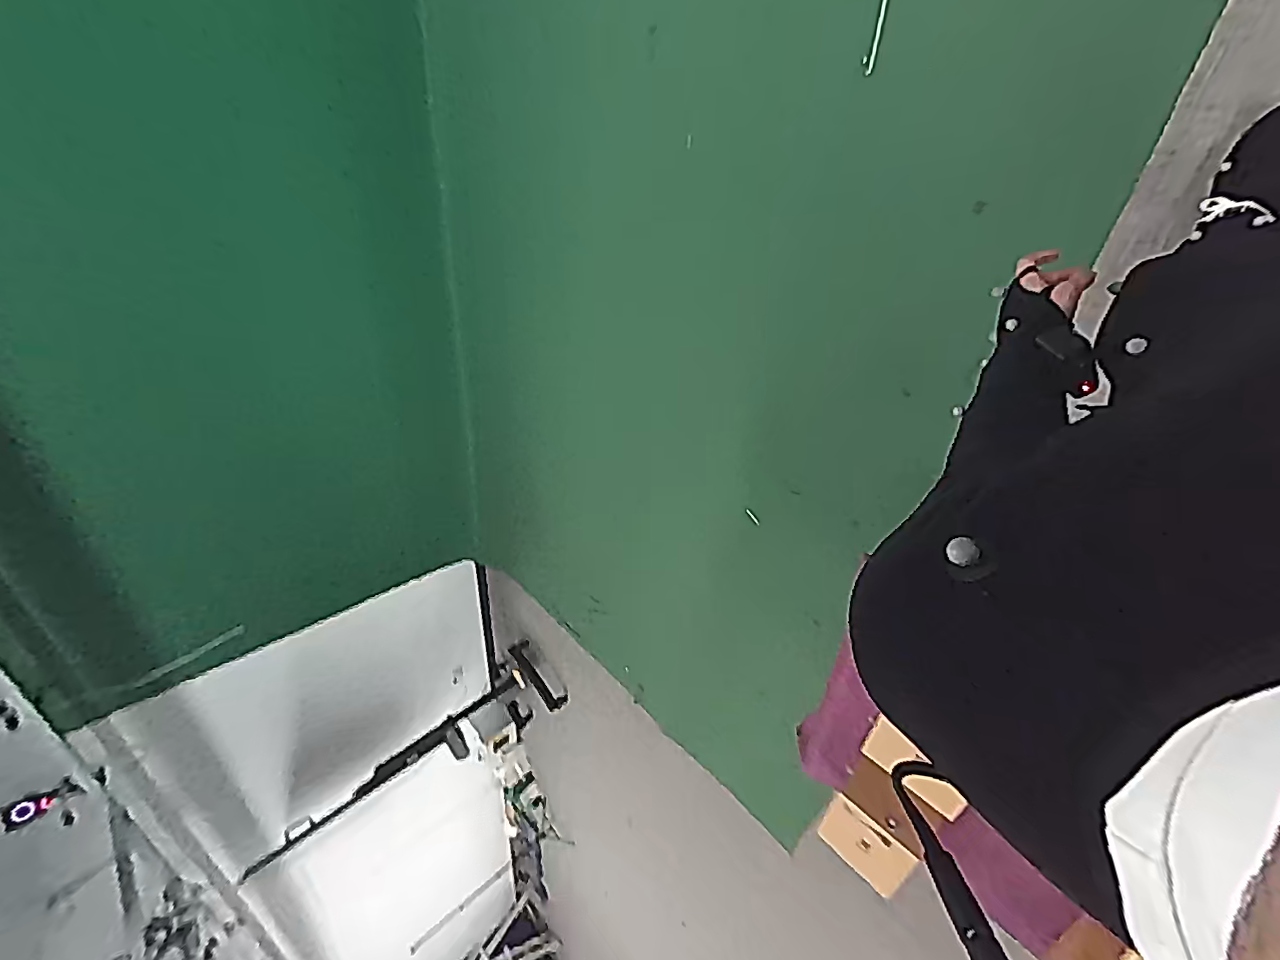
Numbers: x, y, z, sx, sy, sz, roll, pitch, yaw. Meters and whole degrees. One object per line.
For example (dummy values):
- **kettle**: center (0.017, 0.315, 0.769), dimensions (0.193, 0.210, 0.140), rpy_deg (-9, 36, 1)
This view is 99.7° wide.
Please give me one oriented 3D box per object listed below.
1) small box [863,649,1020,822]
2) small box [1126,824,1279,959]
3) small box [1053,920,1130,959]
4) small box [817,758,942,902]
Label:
- **small box**: center (0.526, 0.437, 0.946), dimensions (0.168, 0.176, 0.179), rpy_deg (32, 130, 34)
- **small box**: center (0.805, 0.618, 0.721), dimensions (0.168, 0.176, 0.179), rpy_deg (29, 129, 38)
- **small box**: center (0.784, 0.889, 0.885), dimensions (0.168, 0.176, 0.179), rpy_deg (29, 128, 36)
- **small box**: center (0.500, 0.703, 1.117), dimensions (0.168, 0.176, 0.179), rpy_deg (32, 131, 34)
